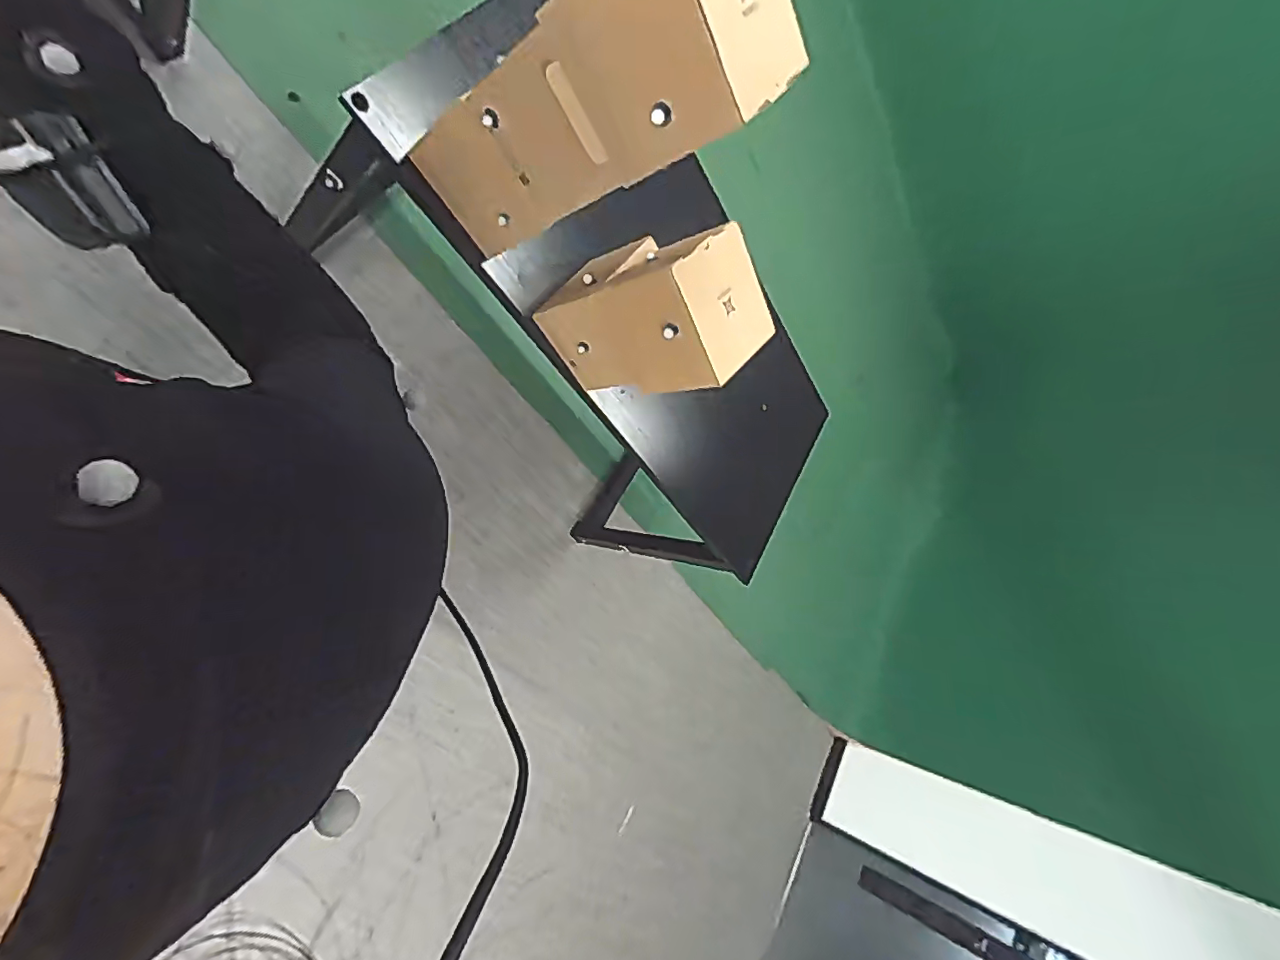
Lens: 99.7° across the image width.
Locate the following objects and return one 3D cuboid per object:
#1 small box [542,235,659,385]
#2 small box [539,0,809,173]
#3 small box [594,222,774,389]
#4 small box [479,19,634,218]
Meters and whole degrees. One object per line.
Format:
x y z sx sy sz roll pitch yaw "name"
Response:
-0.042 -0.279 0.926 0.179 0.176 0.168 -54 126 -27 "small box"
0.037 -0.441 0.543 0.168 0.176 0.179 -55 126 -28 "small box"
0.065 -0.249 0.806 0.168 0.176 0.179 -45 121 -31 "small box"
-0.070 -0.456 0.664 0.179 0.176 0.168 -55 127 -27 "small box"
